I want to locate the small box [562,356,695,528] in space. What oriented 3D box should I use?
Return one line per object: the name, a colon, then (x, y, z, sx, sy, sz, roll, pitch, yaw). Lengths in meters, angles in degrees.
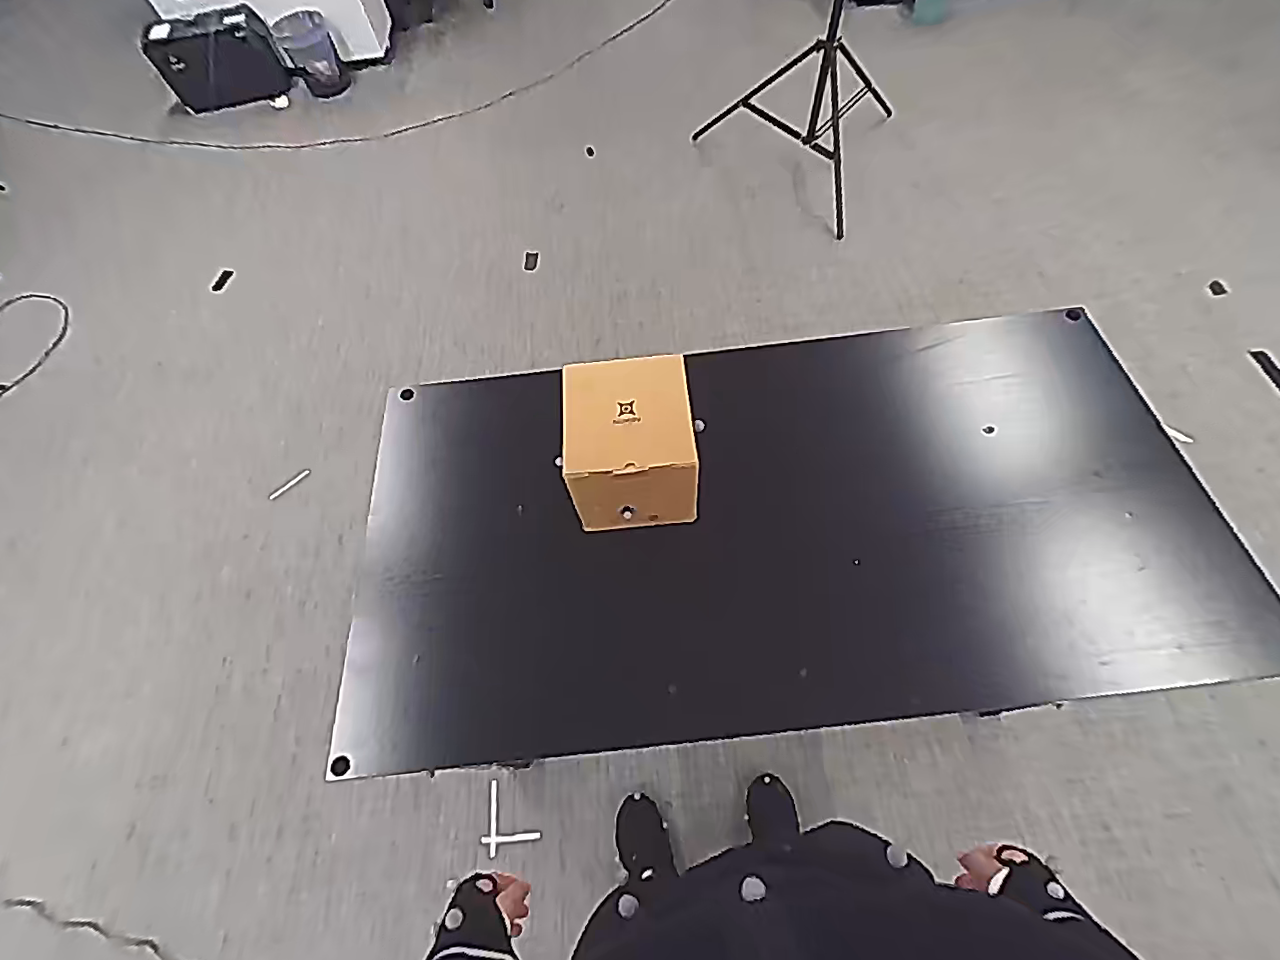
small box: (-0.015, -0.049, 0.766, 0.168, 0.176, 0.179, -6, 62, 2)
